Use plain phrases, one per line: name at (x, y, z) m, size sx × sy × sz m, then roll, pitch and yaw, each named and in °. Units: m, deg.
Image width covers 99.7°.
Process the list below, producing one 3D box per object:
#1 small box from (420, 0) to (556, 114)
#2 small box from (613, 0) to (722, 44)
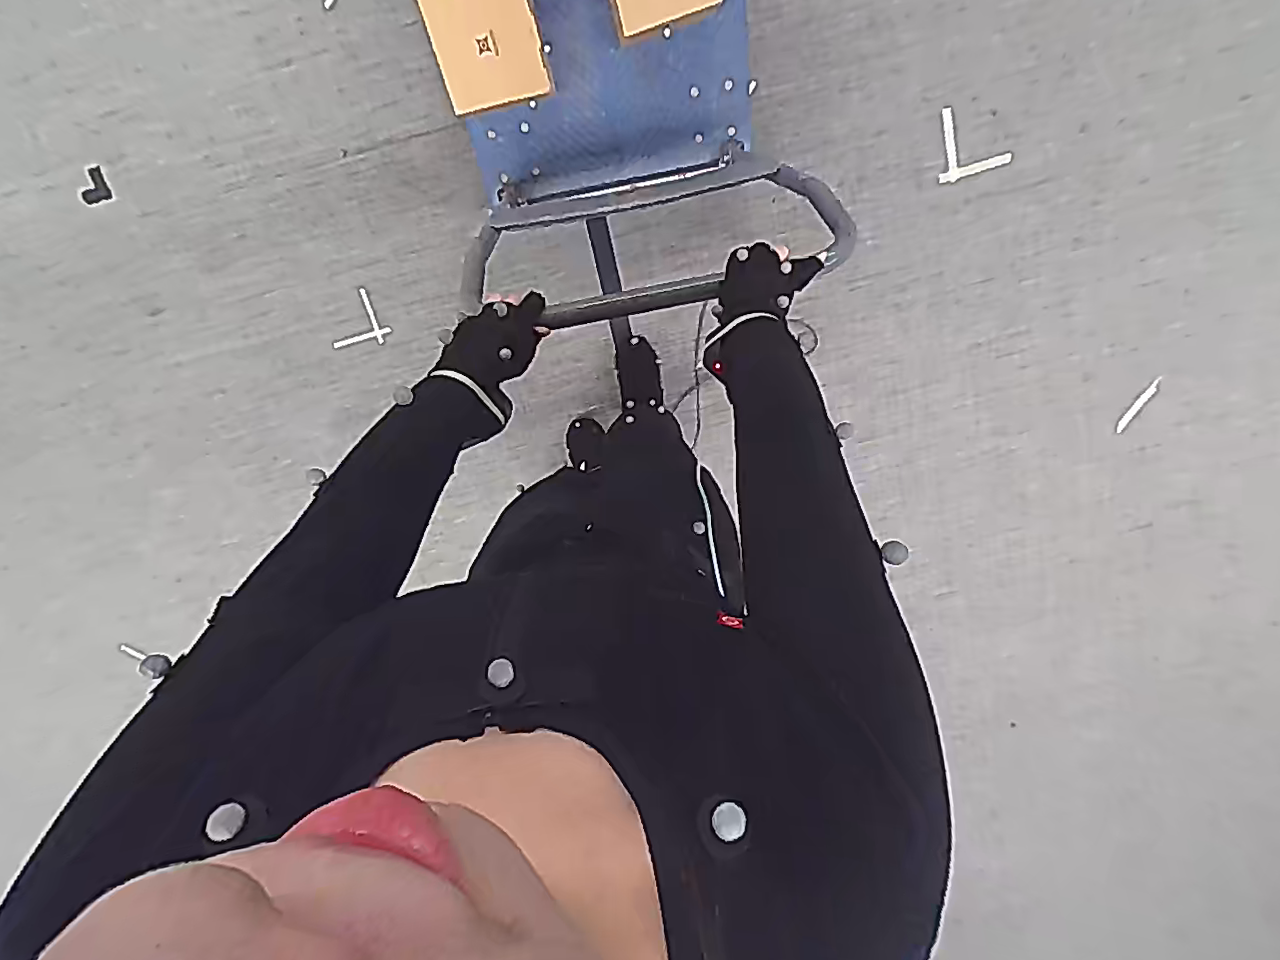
small box at (-0.259, -0.770, 0.965) m, size 0.179 × 0.176 × 0.168 m, roll -13°, pitch 123°, yaw 2°
small box at (0.032, -0.875, 0.919) m, size 0.179 × 0.176 × 0.168 m, roll -15°, pitch 123°, yaw 6°
